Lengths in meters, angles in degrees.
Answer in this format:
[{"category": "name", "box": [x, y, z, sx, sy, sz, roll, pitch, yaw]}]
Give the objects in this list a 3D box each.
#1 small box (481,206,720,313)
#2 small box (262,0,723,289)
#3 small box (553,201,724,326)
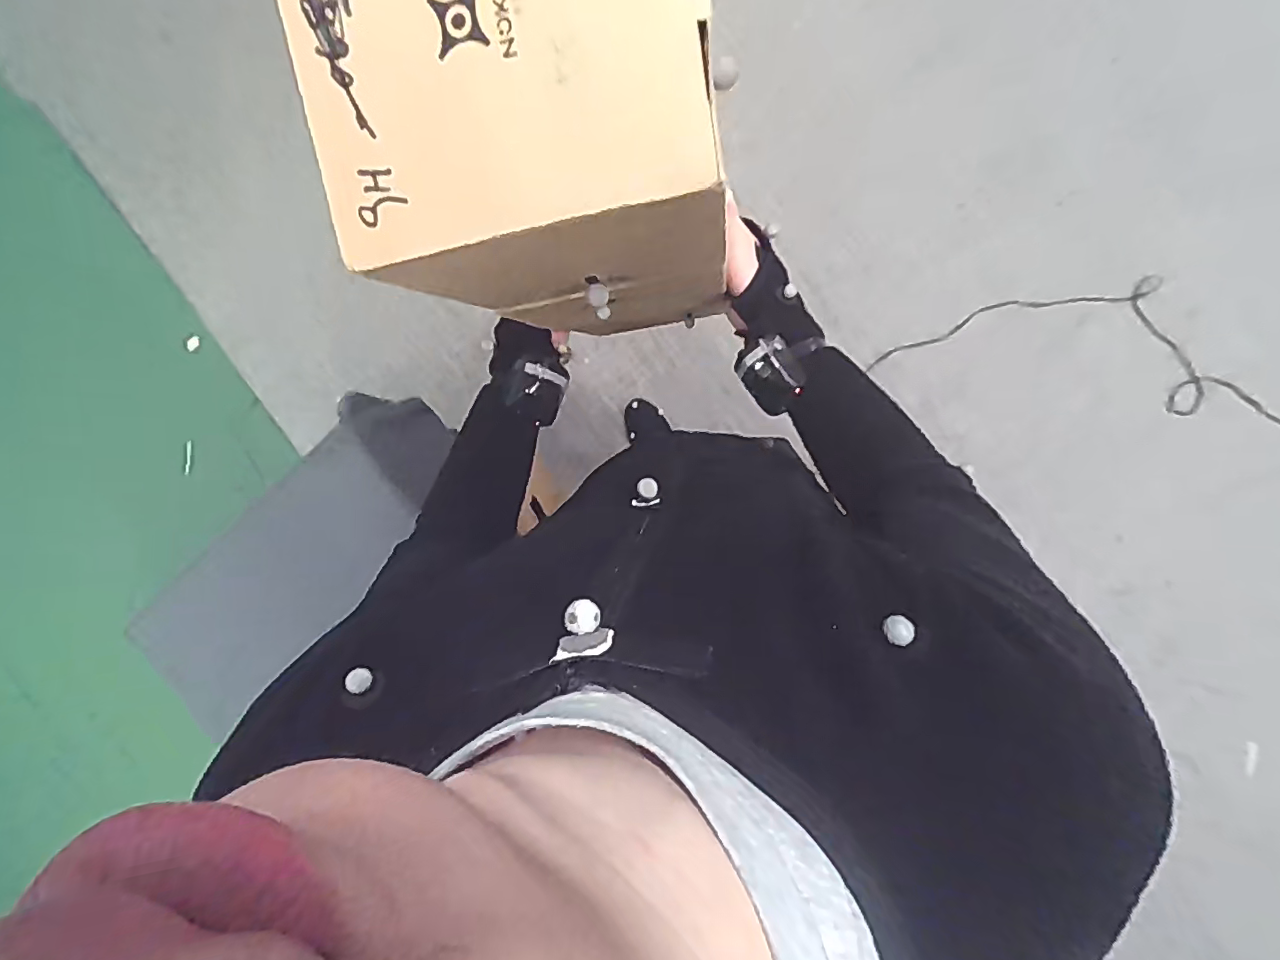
[{"category": "small box", "box": [-0.031, -0.239, 0.442, 0.179, 0.176, 0.168, -8, 101, 10]}, {"category": "small box", "box": [-0.054, -0.207, 0.284, 0.179, 0.176, 0.168, -7, 101, 10]}, {"category": "small box", "box": [-0.002, -0.272, 0.600, 0.179, 0.176, 0.168, -7, 100, 12]}]
